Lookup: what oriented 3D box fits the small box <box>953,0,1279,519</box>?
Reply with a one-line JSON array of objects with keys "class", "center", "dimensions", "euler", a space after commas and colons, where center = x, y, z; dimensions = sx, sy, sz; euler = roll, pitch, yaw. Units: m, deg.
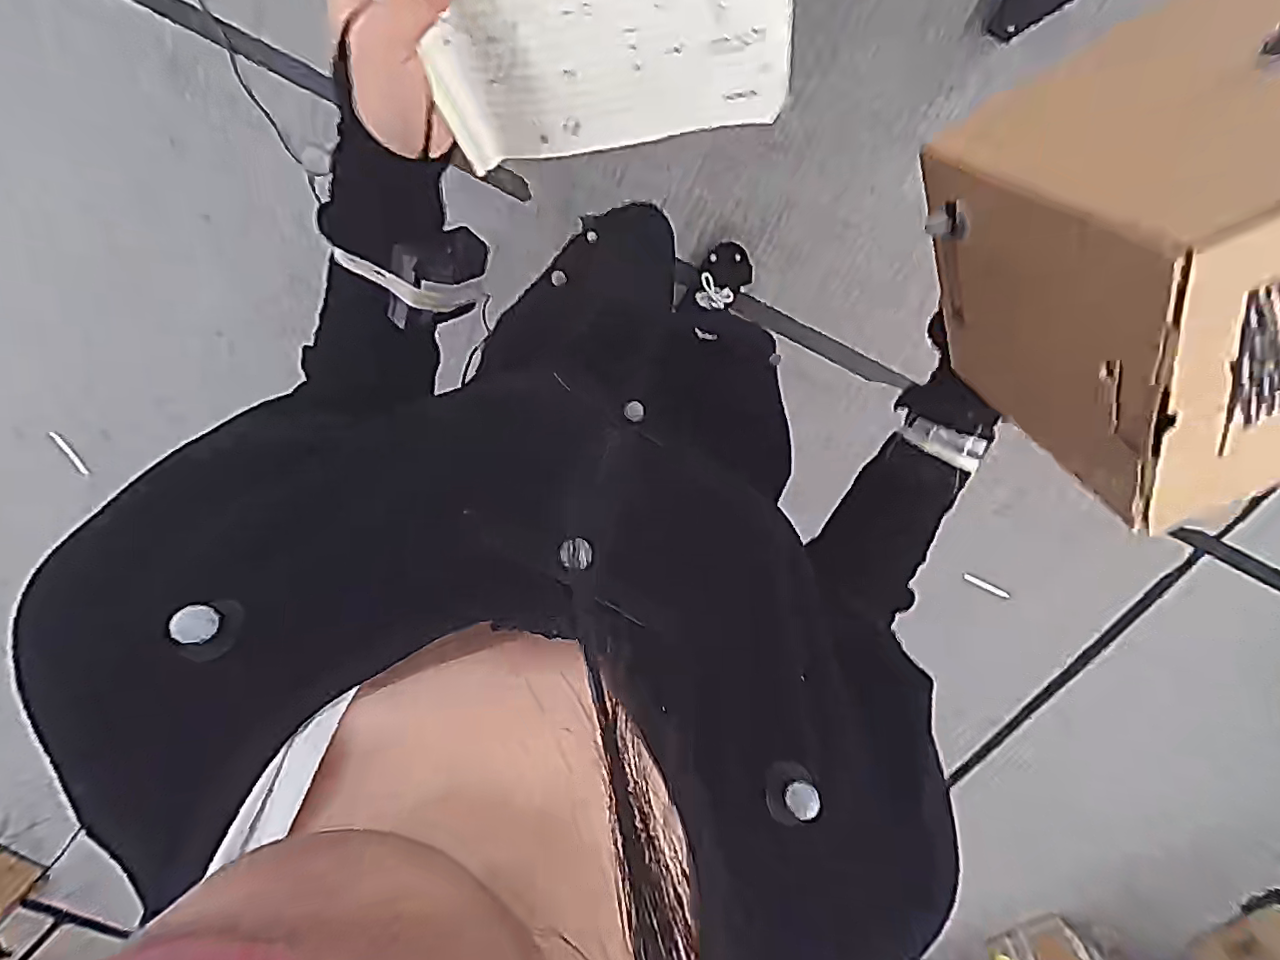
[{"class": "small box", "center": [0.277, -0.119, 0.257], "dimensions": [0.179, 0.176, 0.168], "euler": [-27, 130, 14]}]
